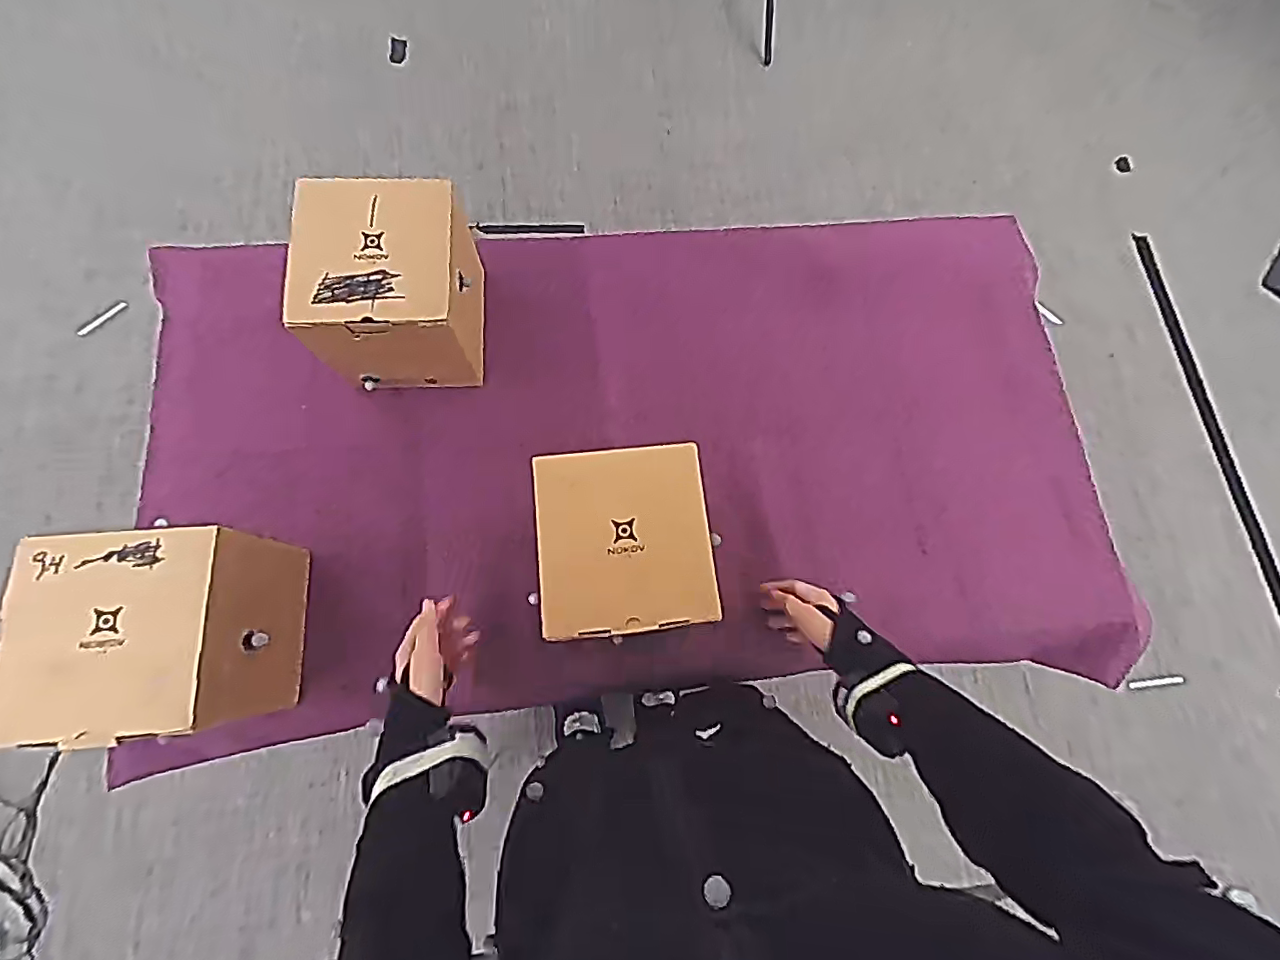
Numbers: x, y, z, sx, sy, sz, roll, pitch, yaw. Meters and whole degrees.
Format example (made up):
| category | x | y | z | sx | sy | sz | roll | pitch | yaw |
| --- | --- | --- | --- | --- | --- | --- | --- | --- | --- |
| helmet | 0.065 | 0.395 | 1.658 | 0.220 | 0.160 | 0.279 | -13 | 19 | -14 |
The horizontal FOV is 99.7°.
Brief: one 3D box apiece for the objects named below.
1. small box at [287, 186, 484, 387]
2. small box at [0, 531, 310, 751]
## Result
| category | x | y | z | sx | sy | sz | roll | pitch | yaw |
| --- | --- | --- | --- | --- | --- | --- | --- | --- | --- |
| small box | -0.288 | -0.220 | 0.651 | 0.168 | 0.176 | 0.179 | -2 | 76 | -5 |
| small box | -0.460 | 0.152 | 0.543 | 0.168 | 0.176 | 0.179 | -3 | 76 | -5 |
